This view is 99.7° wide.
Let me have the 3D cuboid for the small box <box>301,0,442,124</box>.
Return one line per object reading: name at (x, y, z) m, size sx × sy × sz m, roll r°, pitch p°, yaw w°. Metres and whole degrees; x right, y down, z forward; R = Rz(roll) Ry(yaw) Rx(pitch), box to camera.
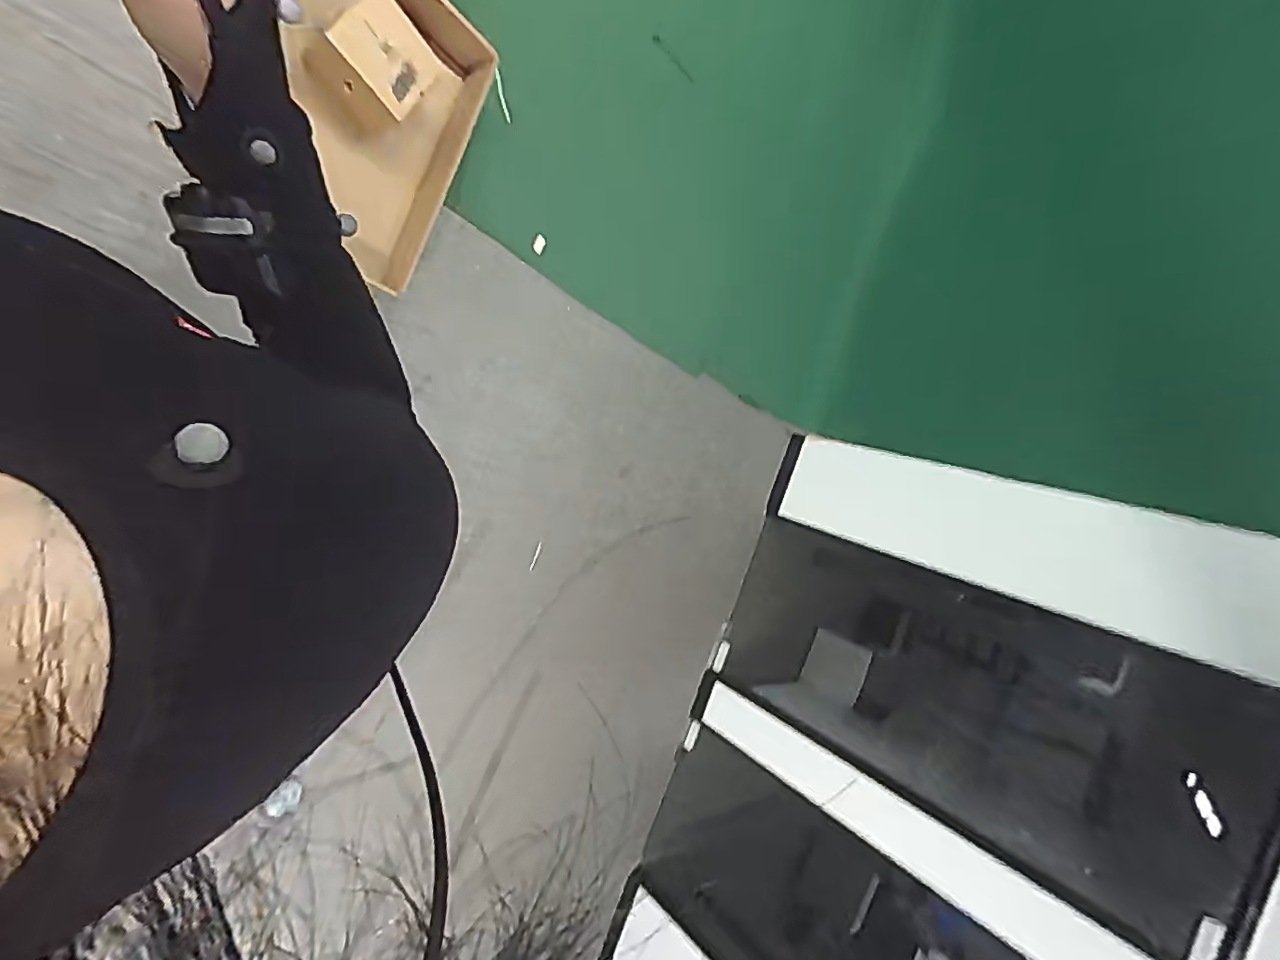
small box at (-0.561, -0.880, 1.131) m, size 0.168 × 0.176 × 0.179 m, roll -58°, pitch 138°, yaw -11°
